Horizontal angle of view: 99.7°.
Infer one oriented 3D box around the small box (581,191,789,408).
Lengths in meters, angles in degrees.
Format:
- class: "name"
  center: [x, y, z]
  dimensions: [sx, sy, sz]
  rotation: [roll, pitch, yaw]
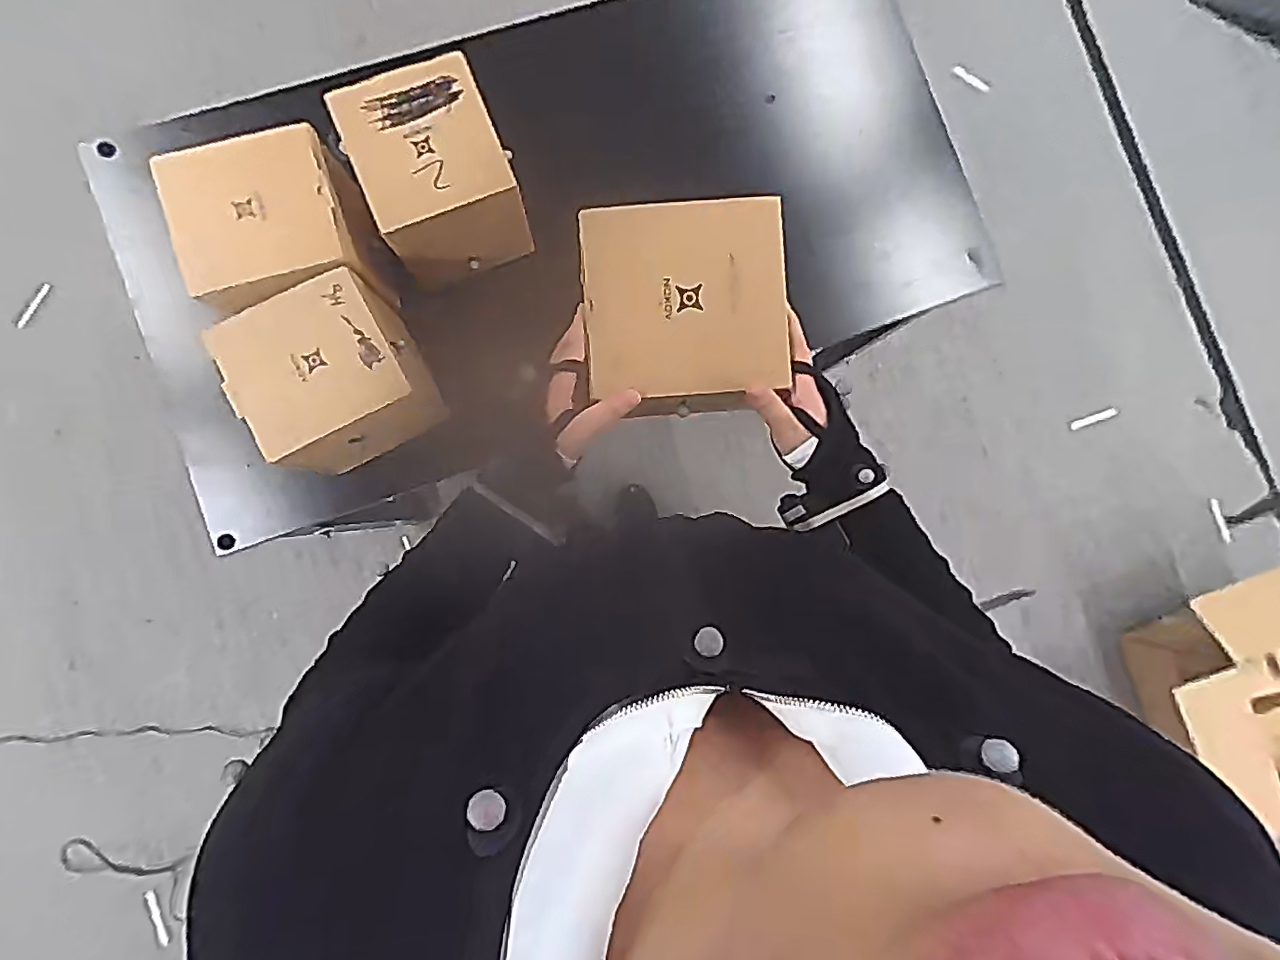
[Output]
- class: "small box"
  center: [0.040, -0.166, 0.551]
  dimensions: [0.179, 0.176, 0.168]
  rotation: [-4, 92, 0]
